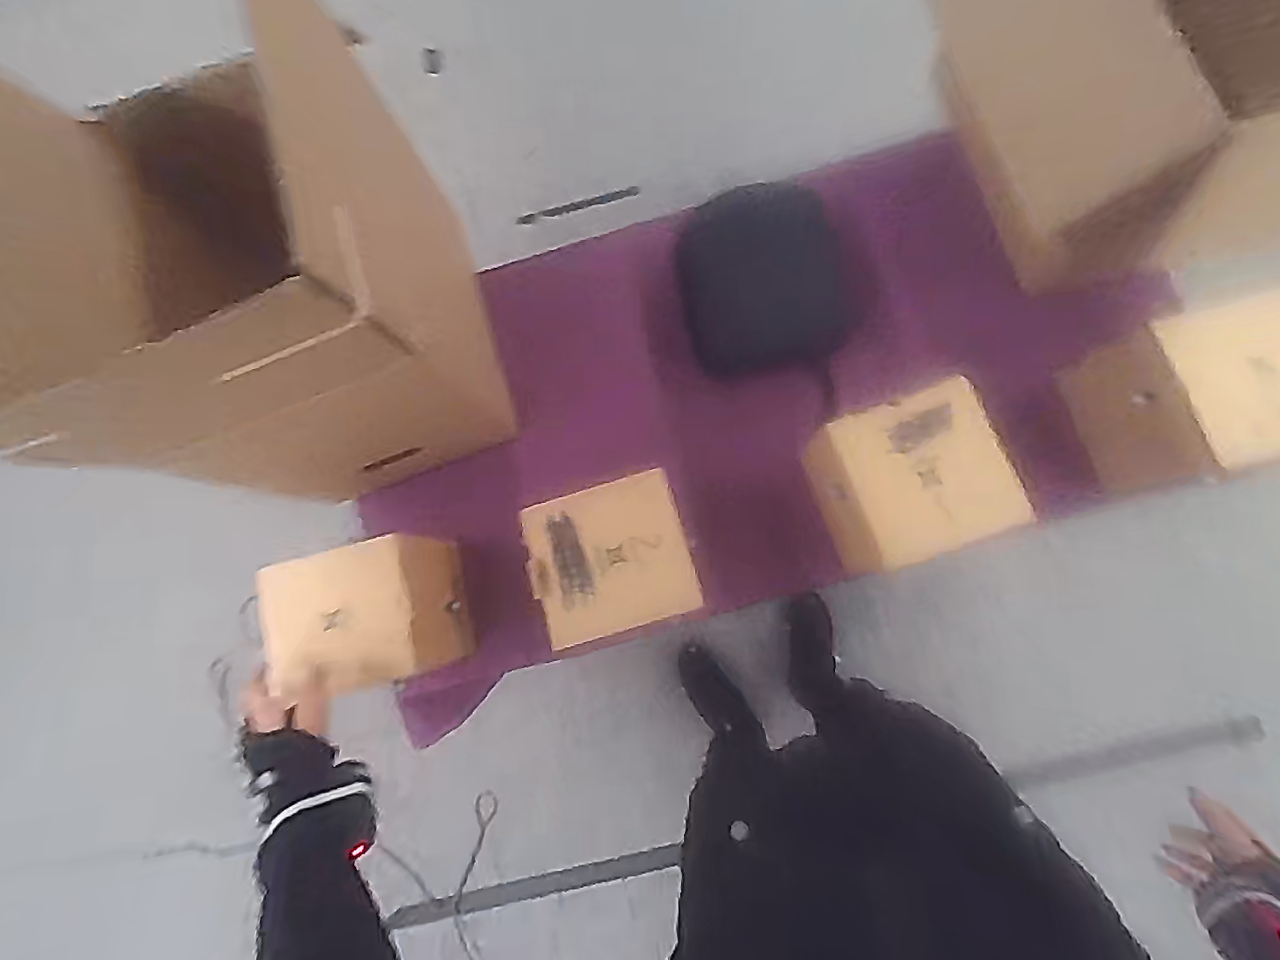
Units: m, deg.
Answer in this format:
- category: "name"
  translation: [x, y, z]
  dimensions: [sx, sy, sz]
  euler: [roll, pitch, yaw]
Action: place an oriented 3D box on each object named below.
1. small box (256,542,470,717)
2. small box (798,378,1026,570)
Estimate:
- category: "small box"
  translation: [-0.347, 0.186, 0.701]
  dimensions: [0.179, 0.176, 0.168]
  euler: [-16, 79, 1]
- category: "small box"
  translation: [0.313, 0.005, 0.669]
  dimensions: [0.168, 0.176, 0.179]
  euler: [-21, 79, 2]
